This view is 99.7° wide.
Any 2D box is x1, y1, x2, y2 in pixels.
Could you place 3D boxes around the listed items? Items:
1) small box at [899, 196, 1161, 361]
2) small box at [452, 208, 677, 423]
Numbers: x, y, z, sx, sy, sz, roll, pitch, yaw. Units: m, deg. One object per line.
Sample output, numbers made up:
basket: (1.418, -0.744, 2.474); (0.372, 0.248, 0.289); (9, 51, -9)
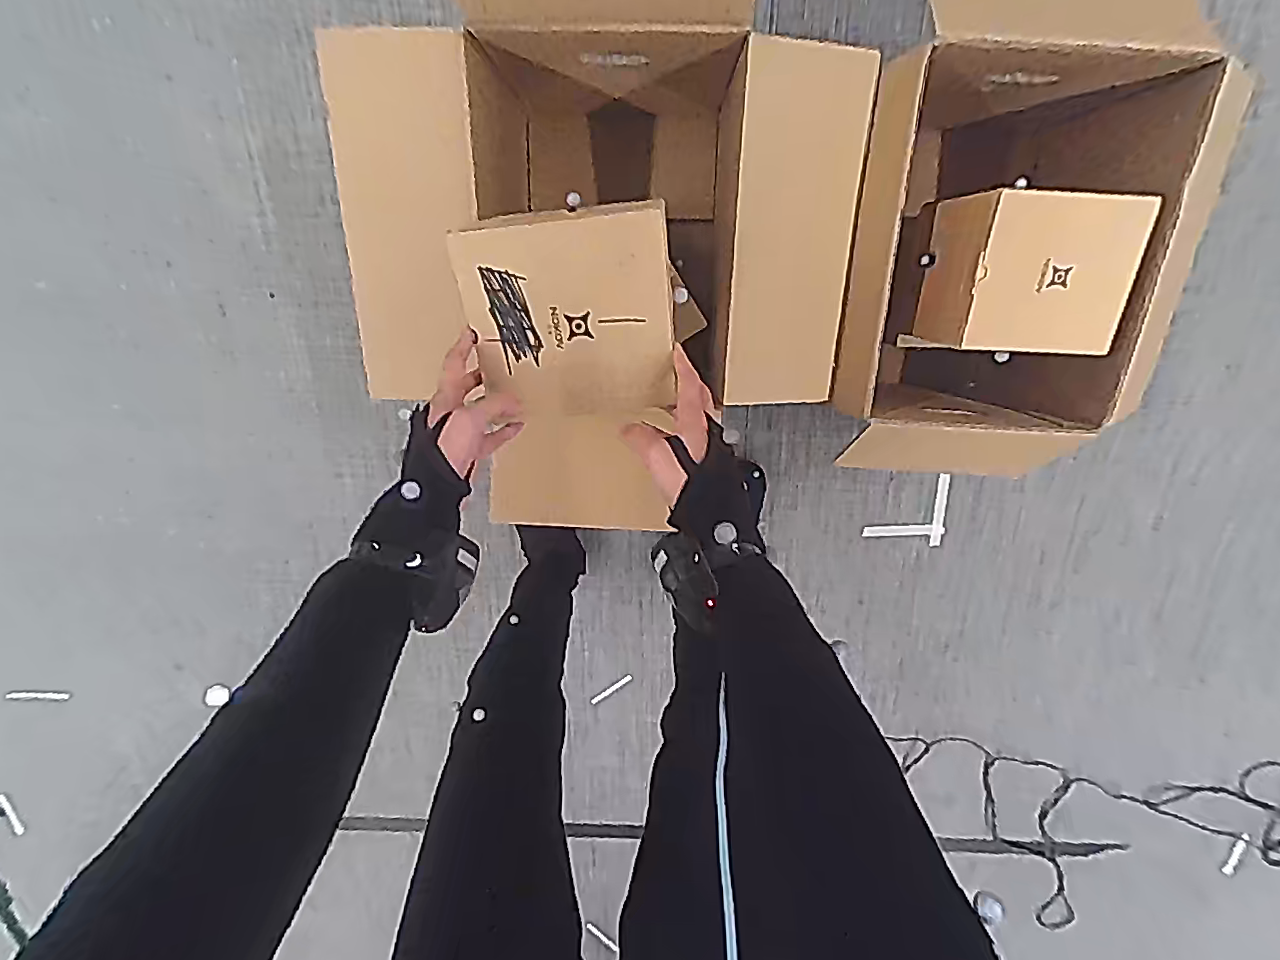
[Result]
small box: (0.456, -0.248, 0.667); (0.179, 0.176, 0.168); (3, 112, 0)
small box: (-0.054, -0.166, 0.528); (0.179, 0.176, 0.168); (-4, 119, 4)
